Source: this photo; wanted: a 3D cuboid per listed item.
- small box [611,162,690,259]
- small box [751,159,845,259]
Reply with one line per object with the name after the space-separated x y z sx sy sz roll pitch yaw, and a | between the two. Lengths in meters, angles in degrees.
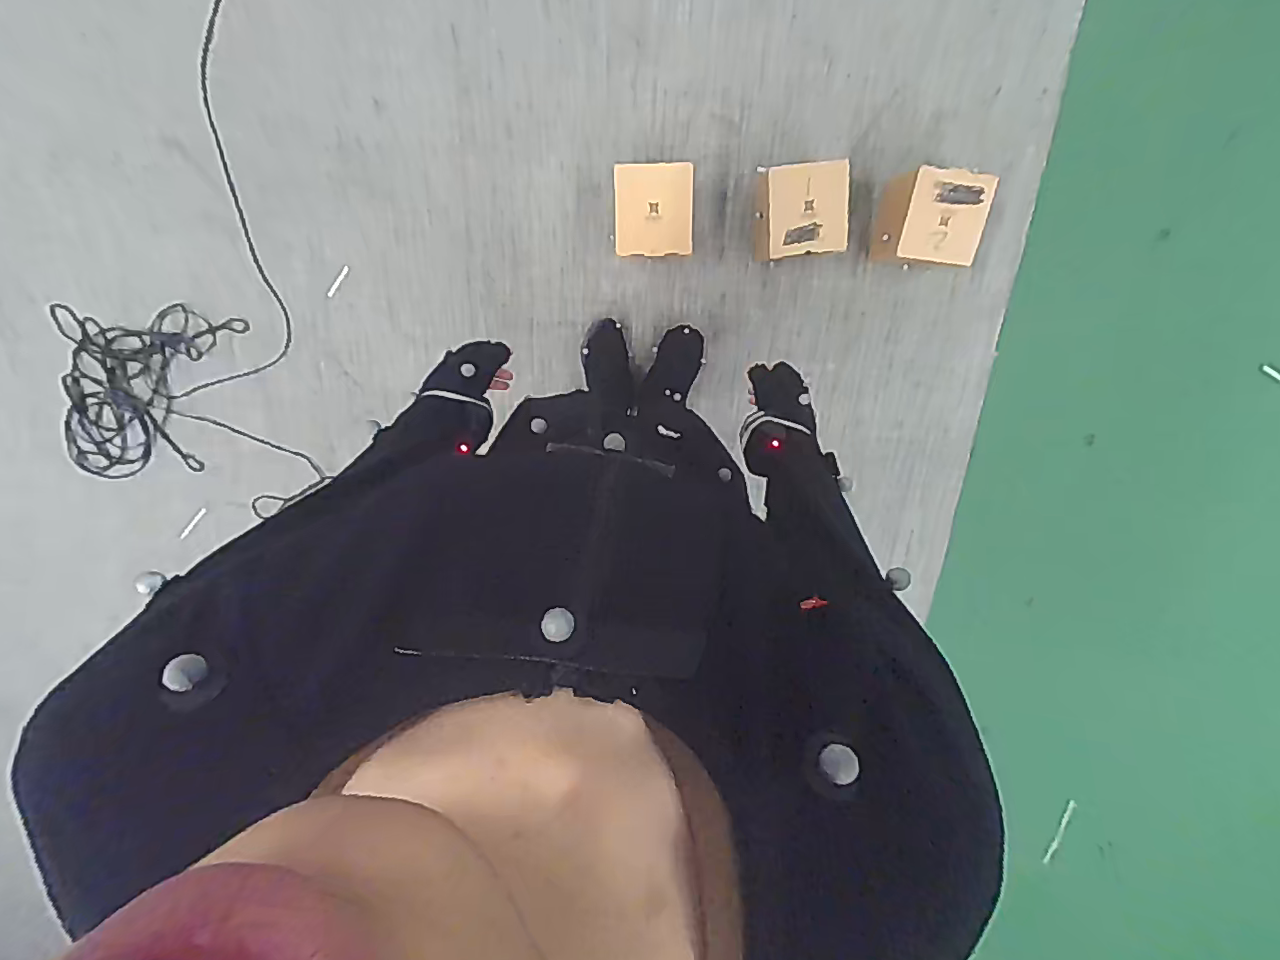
0.024 -0.591 1.204 0.168 0.176 0.179 0 111 3 | small box
0.341 -0.587 1.194 0.168 0.176 0.179 -5 109 3 | small box
